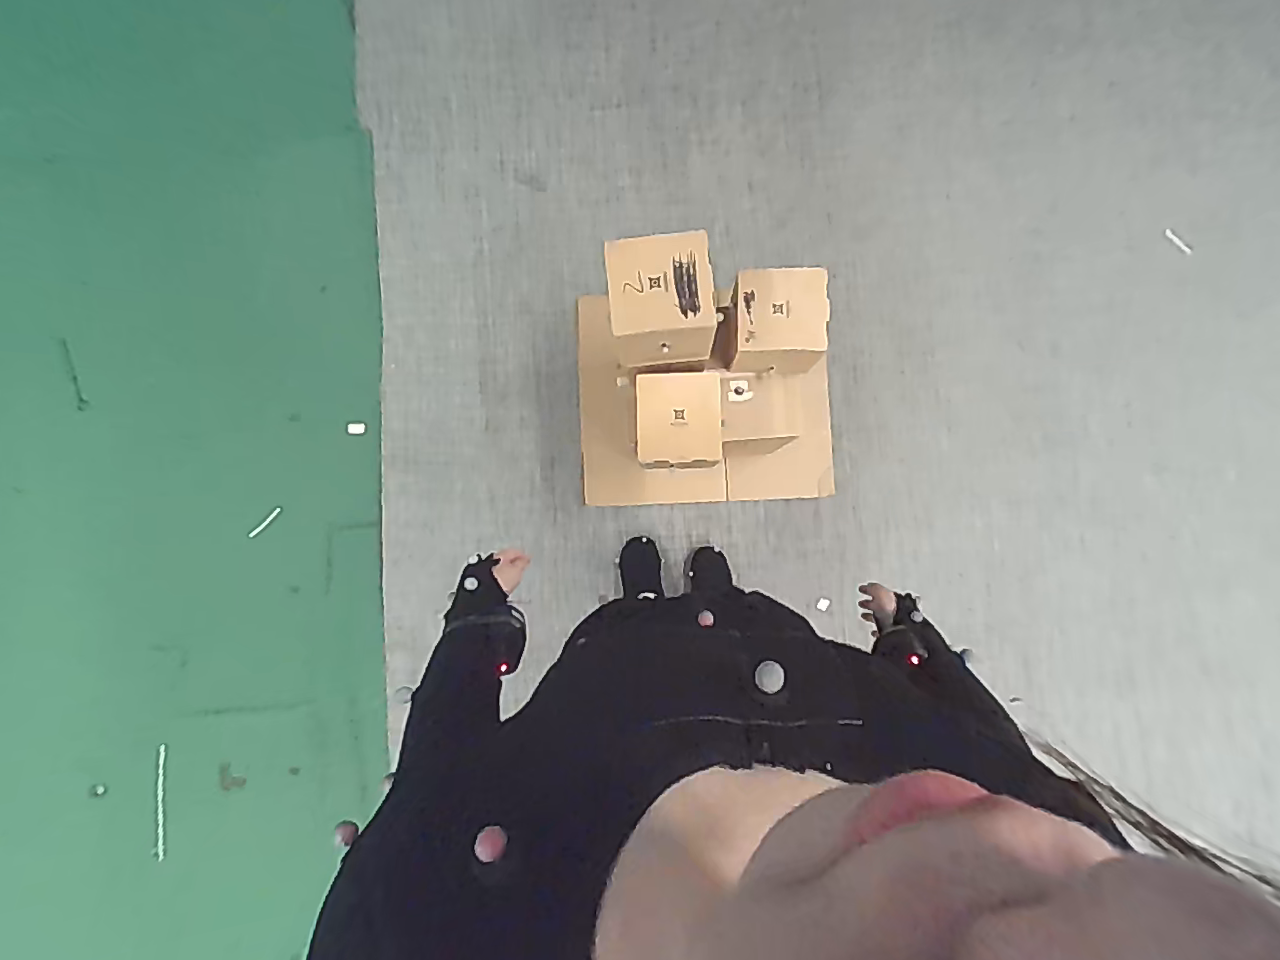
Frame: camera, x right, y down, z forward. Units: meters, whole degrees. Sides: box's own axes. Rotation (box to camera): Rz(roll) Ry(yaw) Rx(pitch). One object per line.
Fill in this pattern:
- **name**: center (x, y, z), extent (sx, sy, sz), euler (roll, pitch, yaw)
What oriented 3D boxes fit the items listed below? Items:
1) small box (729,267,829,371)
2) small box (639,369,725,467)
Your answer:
- **small box**: center (0.282, -0.328, 1.125), extent (0.179, 0.176, 0.168), euler (1, 87, 4)
- **small box**: center (0.081, -0.122, 1.120), extent (0.168, 0.176, 0.179), euler (-2, 88, 1)
